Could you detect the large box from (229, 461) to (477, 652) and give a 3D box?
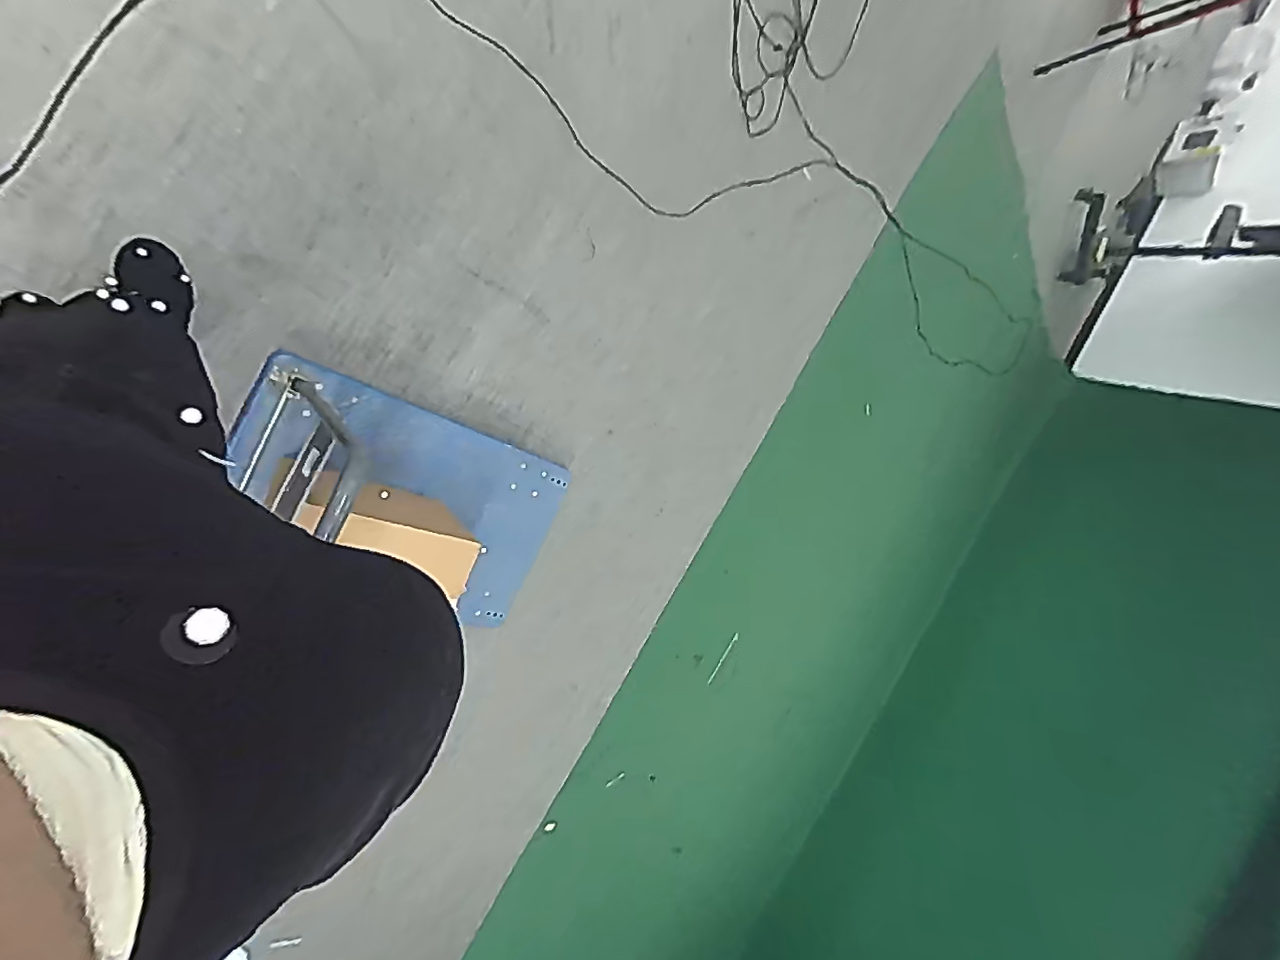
[{"bbox_3d":[-0.678,0.184,1.281,0.408,0.320,0.320,22,94,-43],"label":"large box"}]
